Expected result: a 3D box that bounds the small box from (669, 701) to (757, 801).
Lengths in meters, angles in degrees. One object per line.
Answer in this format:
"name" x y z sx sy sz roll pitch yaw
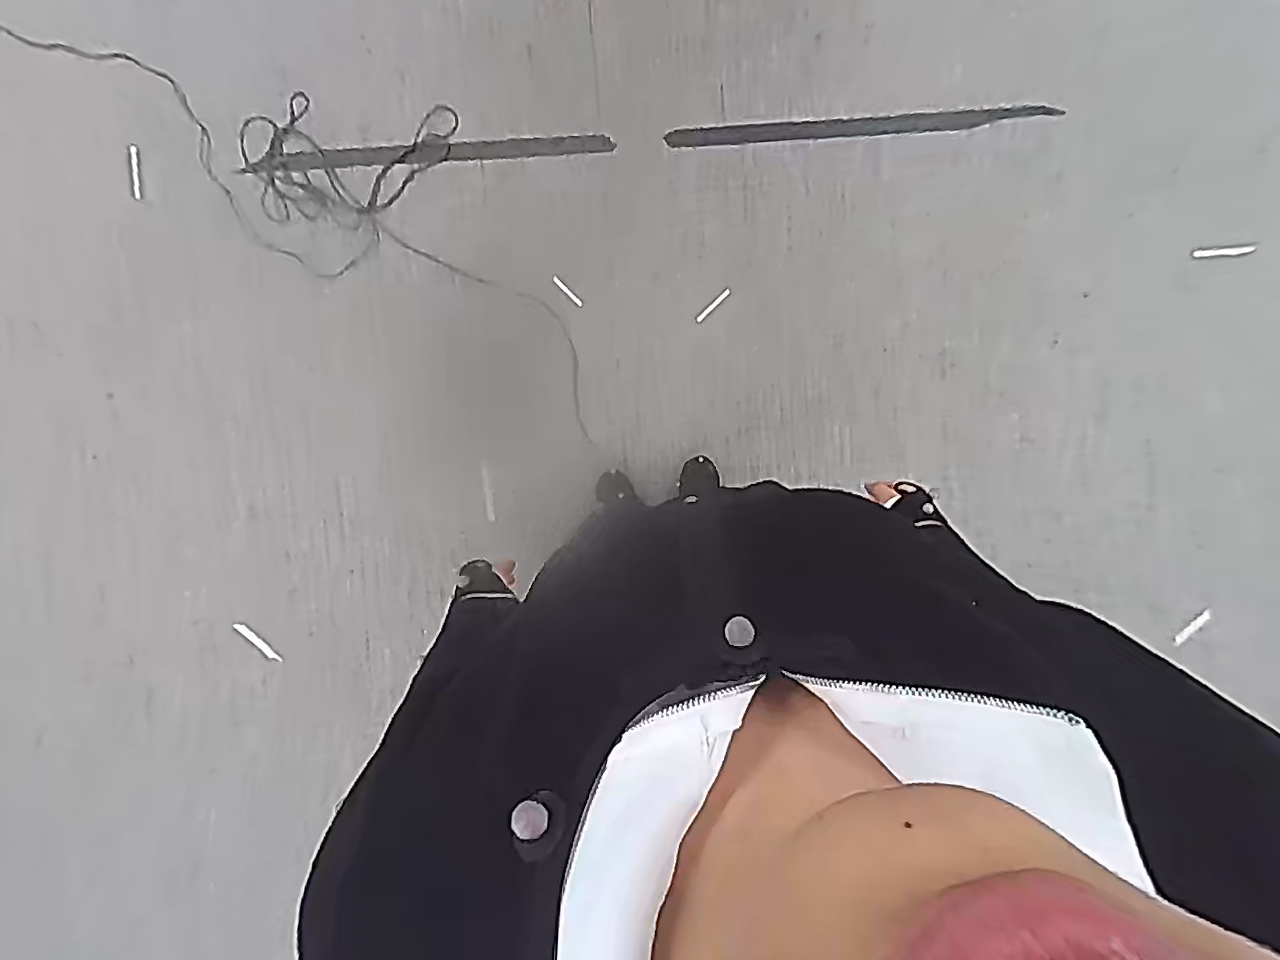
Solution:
"small box" 0.165 0.607 1.258 0.179 0.176 0.168 -8 93 1
